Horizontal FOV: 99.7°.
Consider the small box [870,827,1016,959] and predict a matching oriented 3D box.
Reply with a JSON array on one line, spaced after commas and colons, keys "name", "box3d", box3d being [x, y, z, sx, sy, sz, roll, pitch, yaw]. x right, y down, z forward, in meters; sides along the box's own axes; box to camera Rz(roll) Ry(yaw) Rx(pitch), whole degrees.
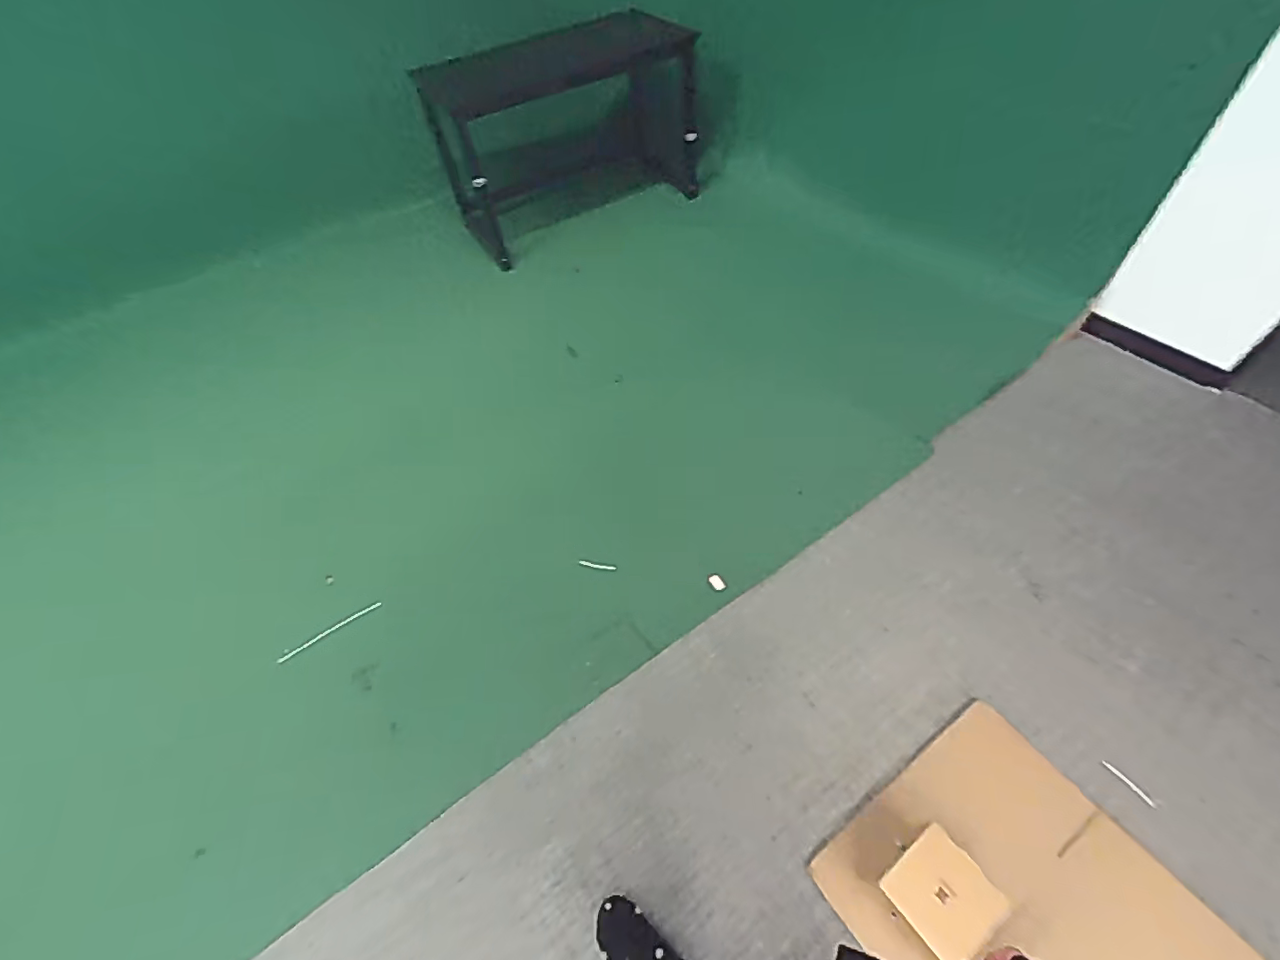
[{"name": "small box", "box3d": [0.581, 0.830, 1.066, 0.179, 0.176, 0.168, -32, 56, -18]}]
